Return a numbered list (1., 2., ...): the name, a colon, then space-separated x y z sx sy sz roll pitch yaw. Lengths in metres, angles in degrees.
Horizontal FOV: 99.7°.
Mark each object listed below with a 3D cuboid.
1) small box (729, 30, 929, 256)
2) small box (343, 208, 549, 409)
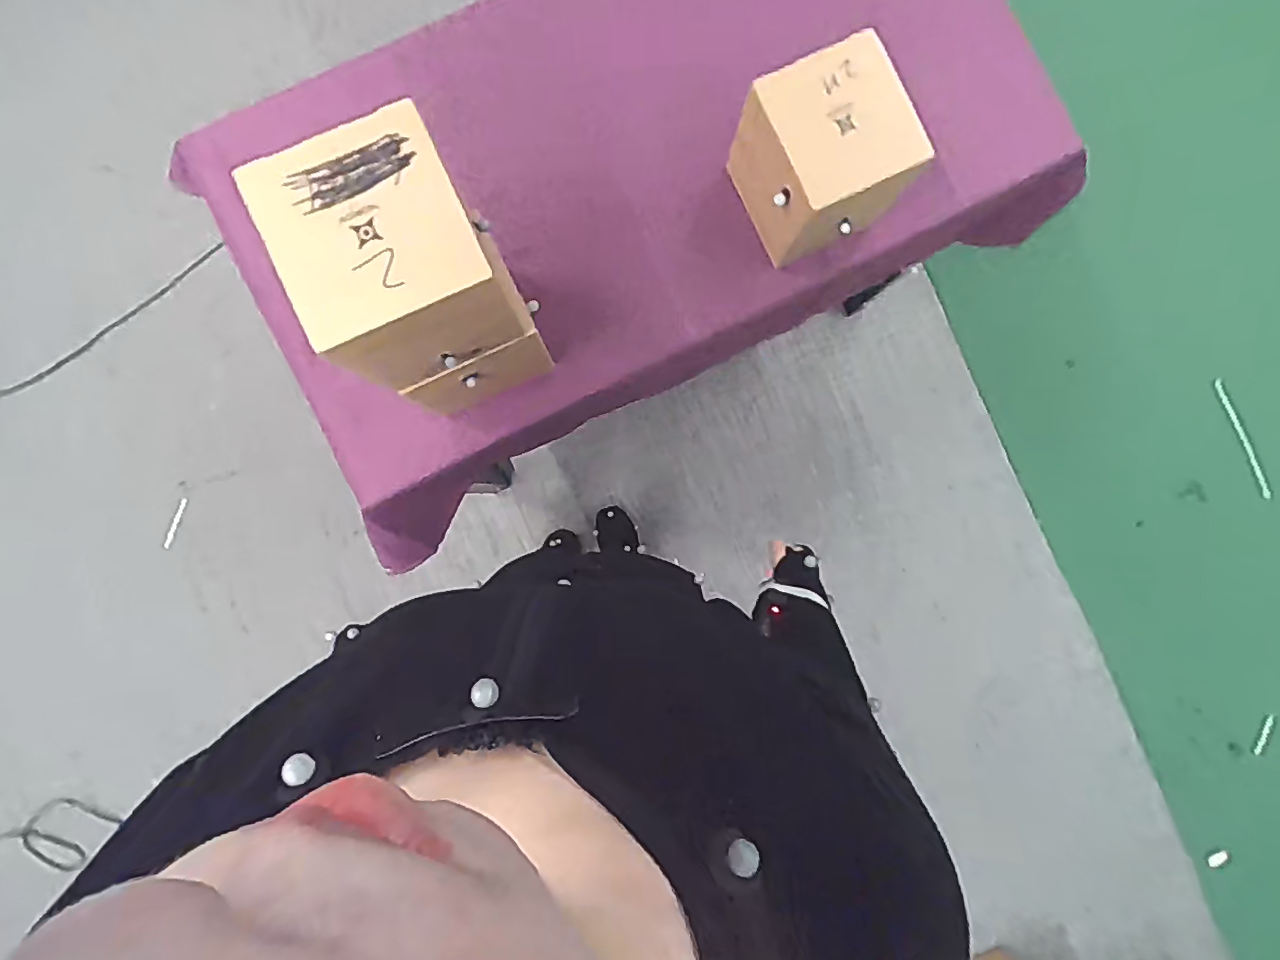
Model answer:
1. small box: 0.238 -0.428 0.725 0.168 0.176 0.179 -25 89 -2
2. small box: -0.237 -0.208 0.709 0.179 0.176 0.168 -26 89 -3
